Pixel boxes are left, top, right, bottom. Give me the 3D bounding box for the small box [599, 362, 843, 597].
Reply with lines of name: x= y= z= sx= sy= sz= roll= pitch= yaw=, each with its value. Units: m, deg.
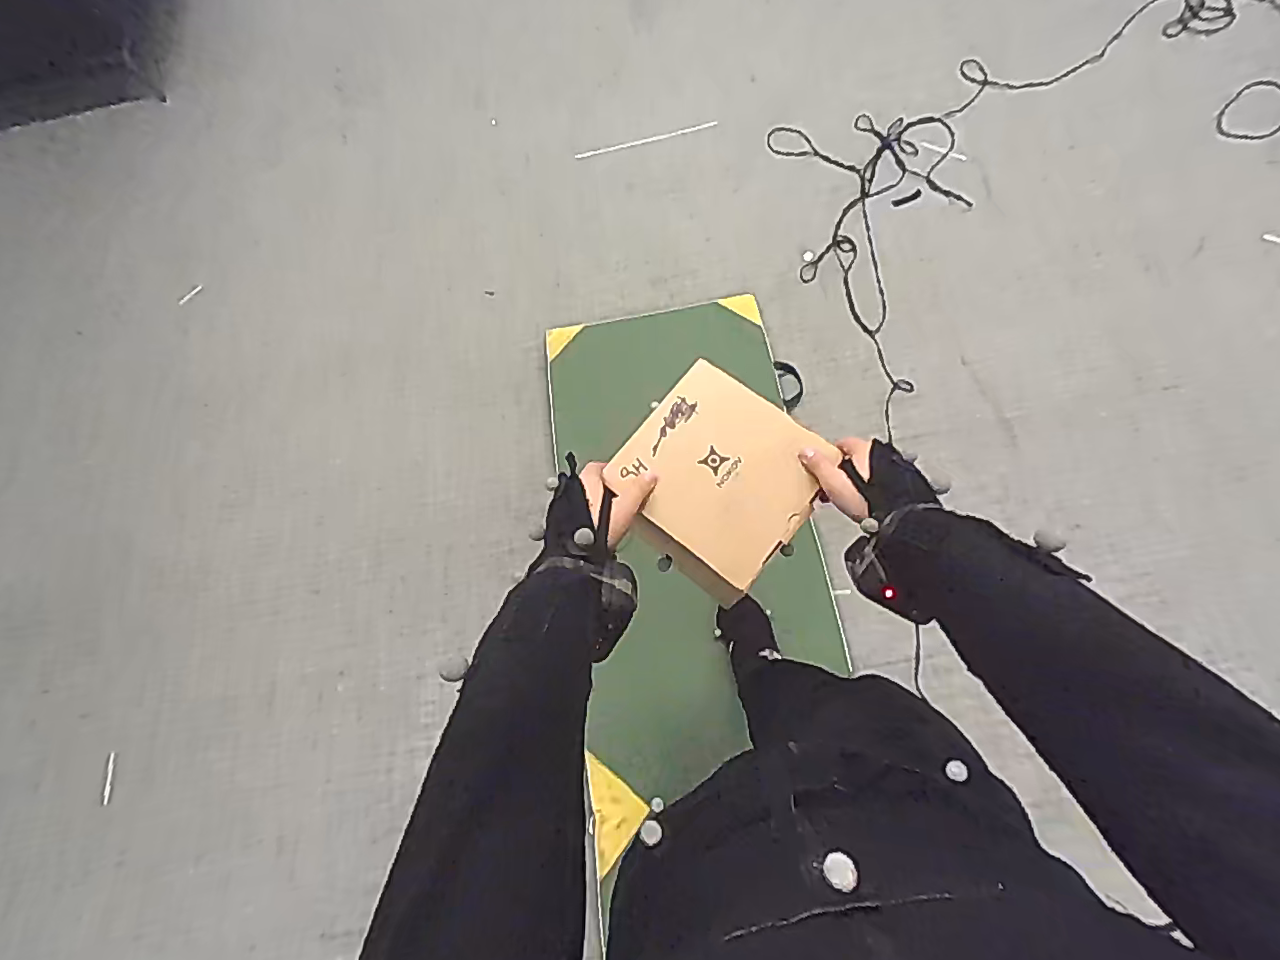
small box: x=0.081 y=0.012 z=0.591 sx=0.179 sy=0.176 sz=0.168 roll=38 pitch=77 yaw=15
